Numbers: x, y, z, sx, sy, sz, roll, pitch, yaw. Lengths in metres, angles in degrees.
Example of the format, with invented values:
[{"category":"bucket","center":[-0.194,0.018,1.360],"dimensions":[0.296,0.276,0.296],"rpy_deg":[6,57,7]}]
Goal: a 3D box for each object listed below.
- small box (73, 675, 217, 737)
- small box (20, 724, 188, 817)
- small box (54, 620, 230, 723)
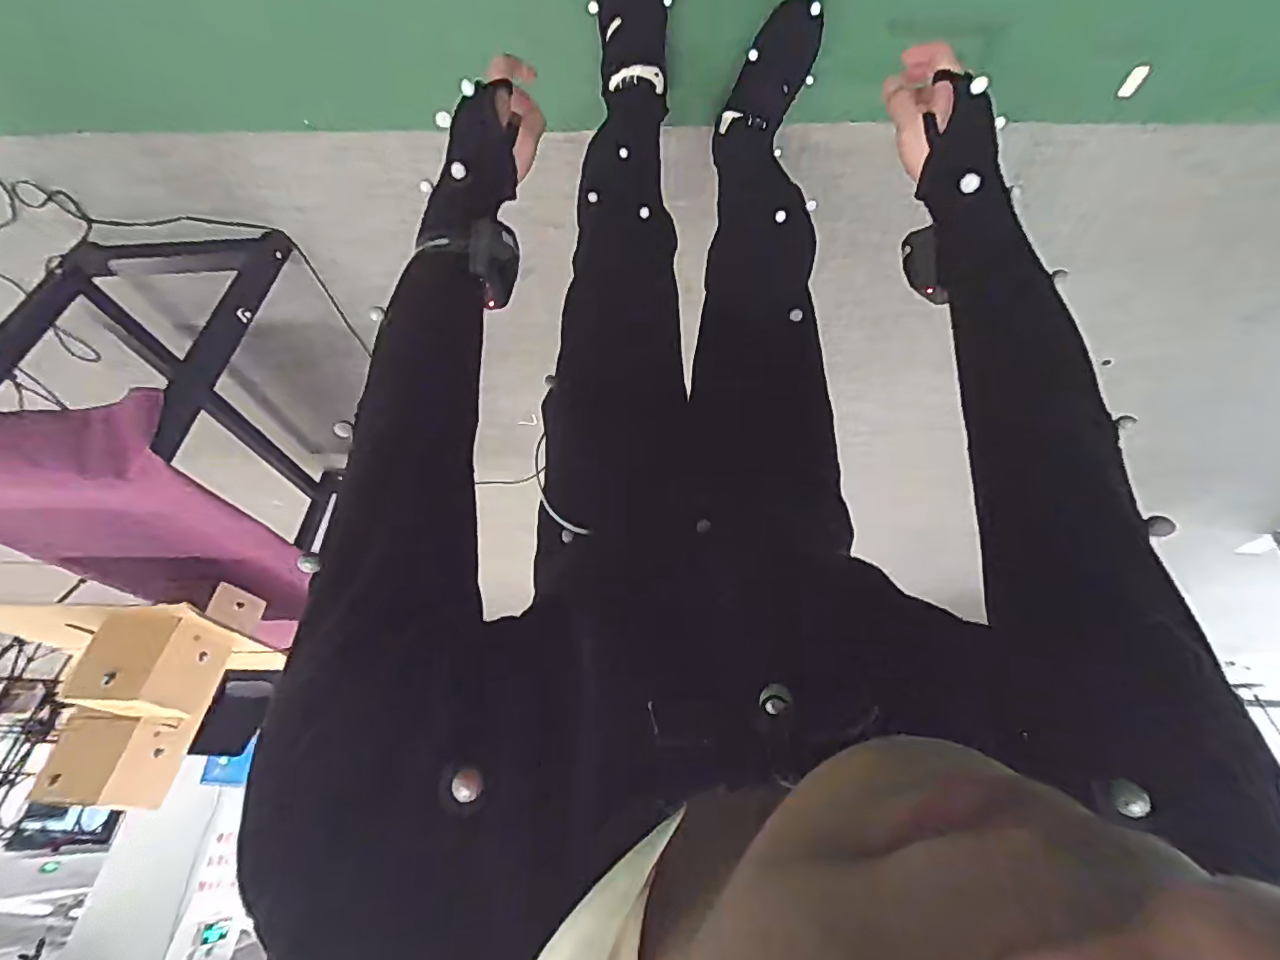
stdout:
[{"category":"small box","center":[-1.184,0.520,1.317],"dimensions":[0.179,0.176,0.168],"rpy_deg":[0,145,6]},{"category":"small box","center":[-1.195,0.656,1.225],"dimensions":[0.179,0.176,0.168],"rpy_deg":[-1,145,6]},{"category":"small box","center":[-1.019,0.398,1.128],"dimensions":[0.179,0.176,0.168],"rpy_deg":[-1,146,5]}]
